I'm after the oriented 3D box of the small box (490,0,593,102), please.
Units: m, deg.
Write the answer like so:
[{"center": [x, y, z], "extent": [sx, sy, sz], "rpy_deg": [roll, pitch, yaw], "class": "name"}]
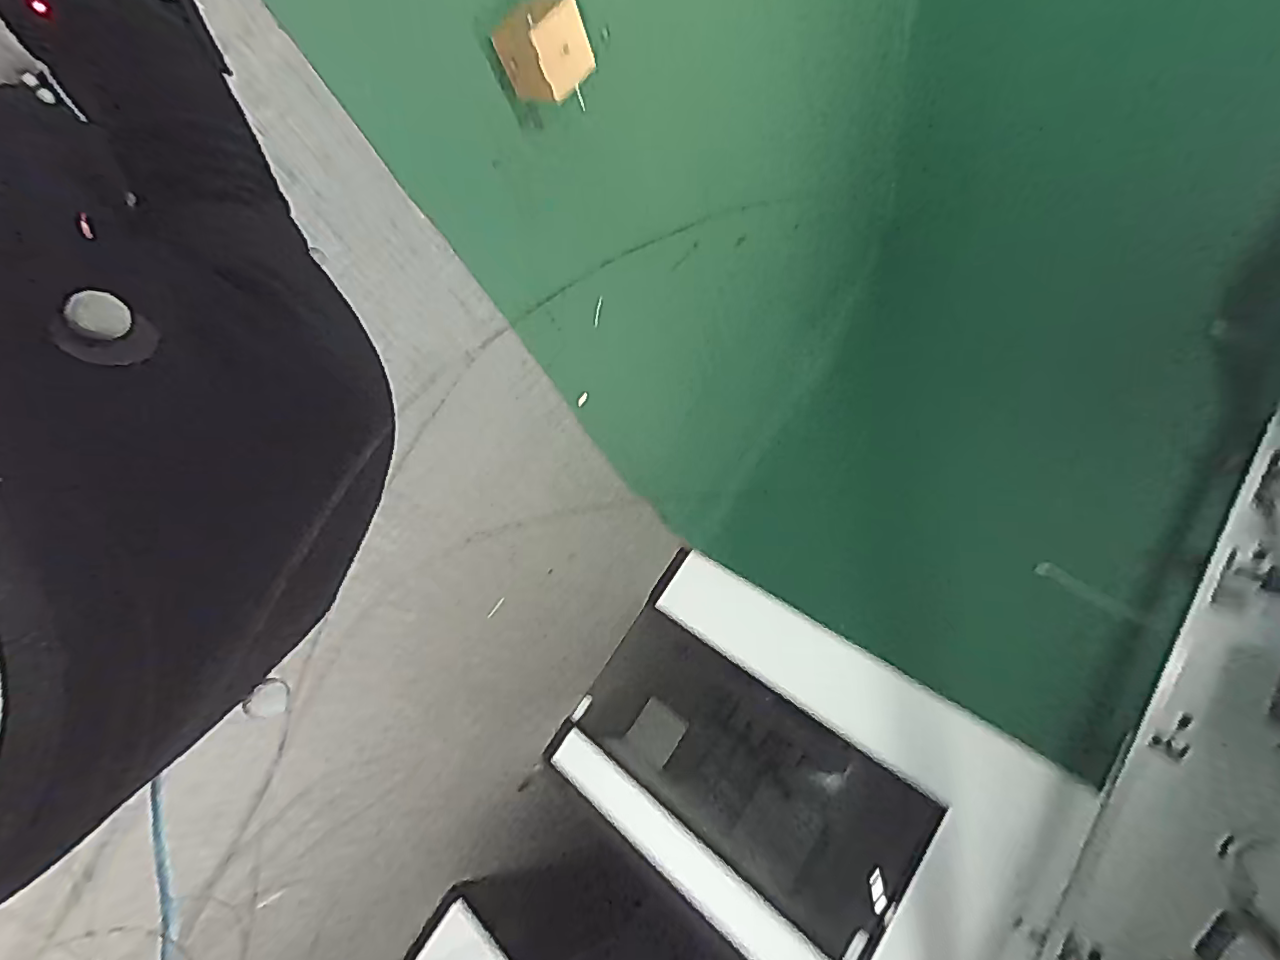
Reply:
[{"center": [-0.264, -1.158, 1.451], "extent": [0.179, 0.176, 0.168], "rpy_deg": [-54, 149, -12], "class": "small box"}]
